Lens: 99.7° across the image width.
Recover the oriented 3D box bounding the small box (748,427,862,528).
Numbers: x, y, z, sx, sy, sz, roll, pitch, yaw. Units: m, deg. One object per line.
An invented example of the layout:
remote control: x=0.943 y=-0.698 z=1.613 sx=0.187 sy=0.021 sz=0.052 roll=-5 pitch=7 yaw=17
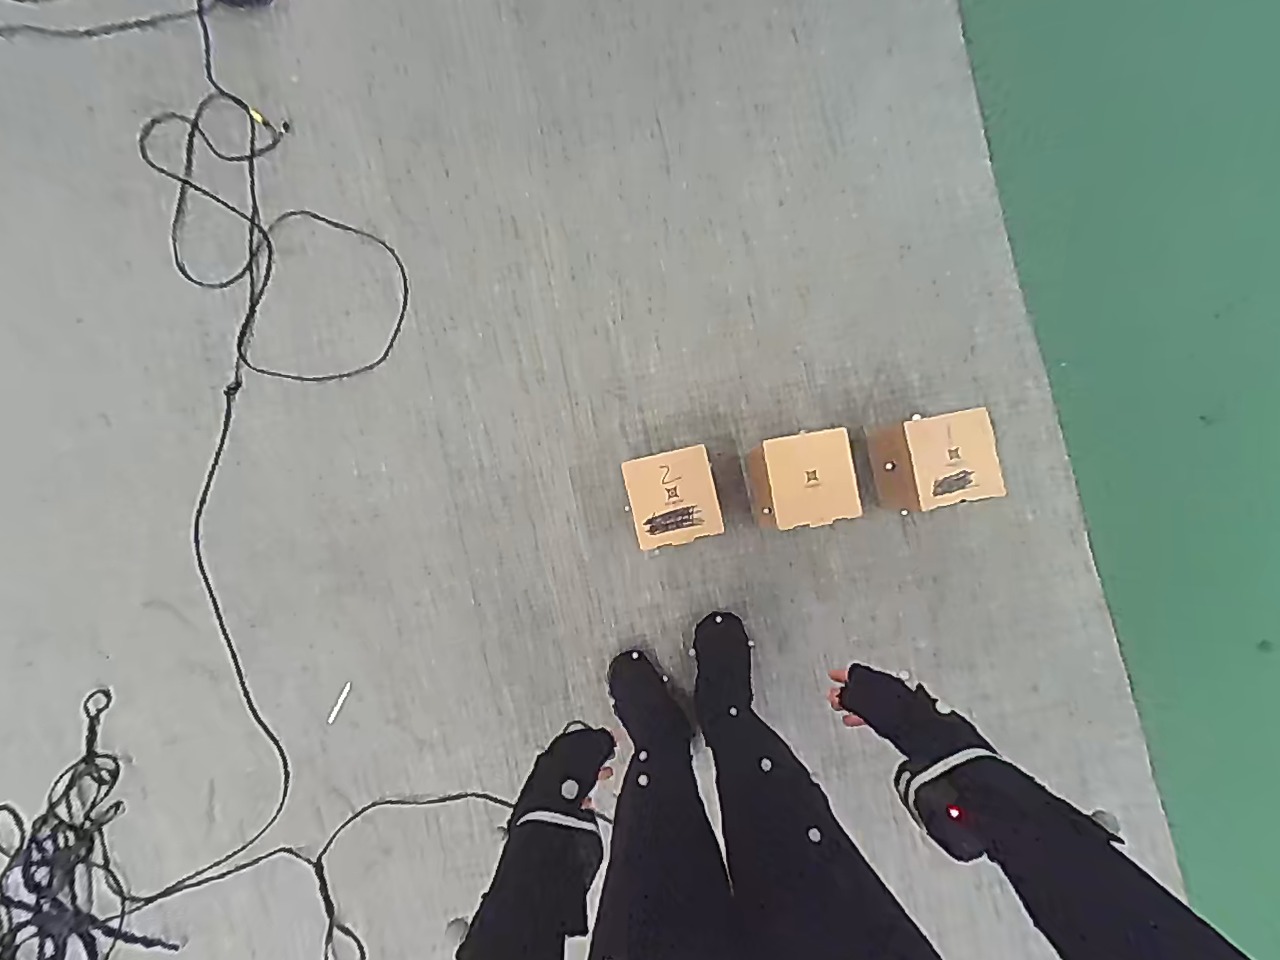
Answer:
small box: x=0.327 y=0.001 z=1.108 sx=0.168 sy=0.176 sz=0.179 roll=-10 pitch=87 yaw=-1

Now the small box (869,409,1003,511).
small box: x=0.595 y=-0.035 z=1.108 sx=0.168 sy=0.176 sz=0.179 roll=-10 pitch=86 yaw=0
